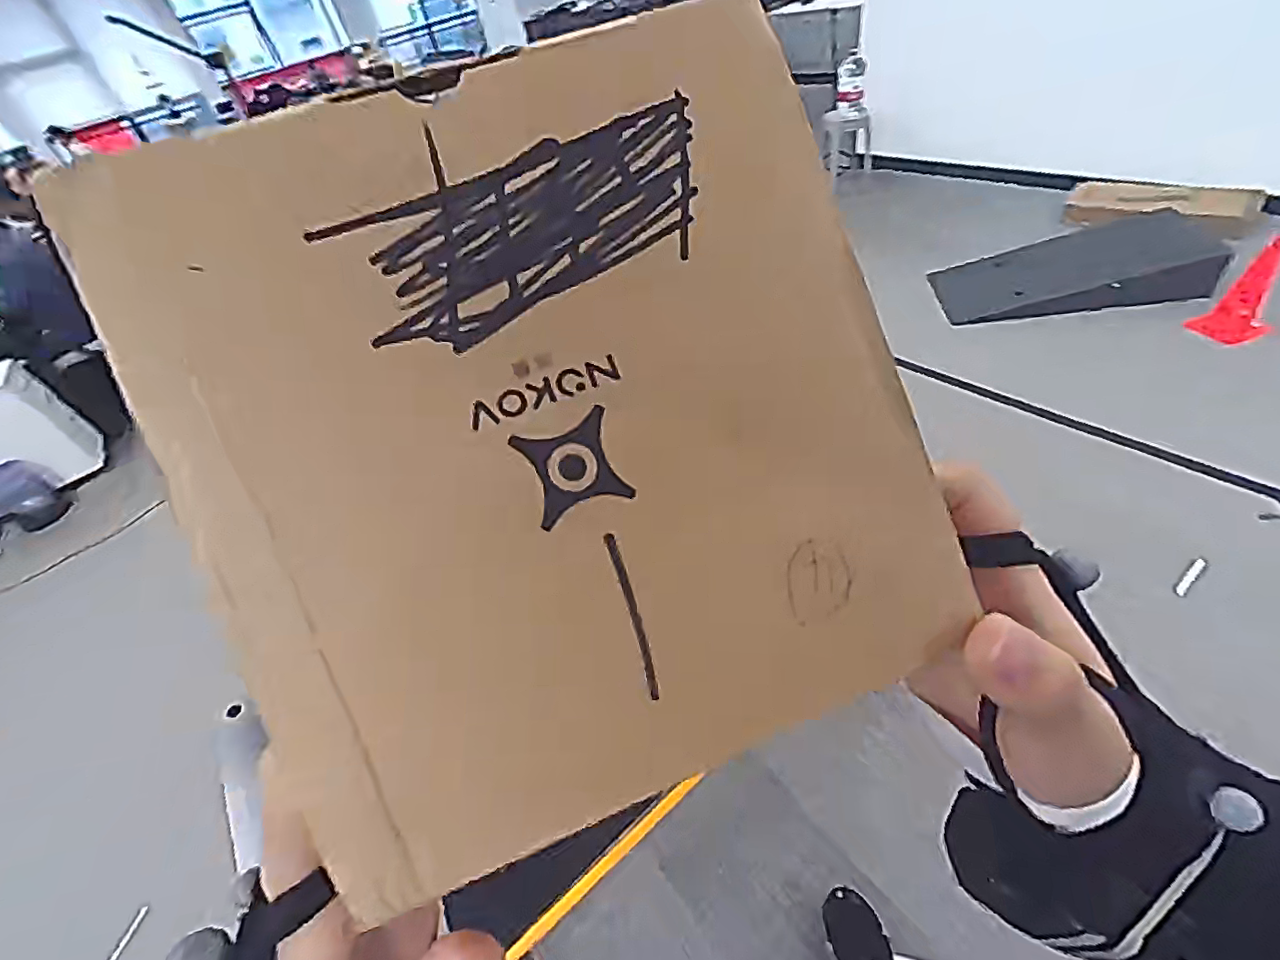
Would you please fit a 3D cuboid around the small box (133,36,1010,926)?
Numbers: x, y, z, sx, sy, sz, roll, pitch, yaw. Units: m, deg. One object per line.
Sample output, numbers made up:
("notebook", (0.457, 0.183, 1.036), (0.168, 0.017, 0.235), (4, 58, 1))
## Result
("small box", (-0.018, -0.004, 0.209), (0.168, 0.179, 0.176), (-21, 0, -7))
